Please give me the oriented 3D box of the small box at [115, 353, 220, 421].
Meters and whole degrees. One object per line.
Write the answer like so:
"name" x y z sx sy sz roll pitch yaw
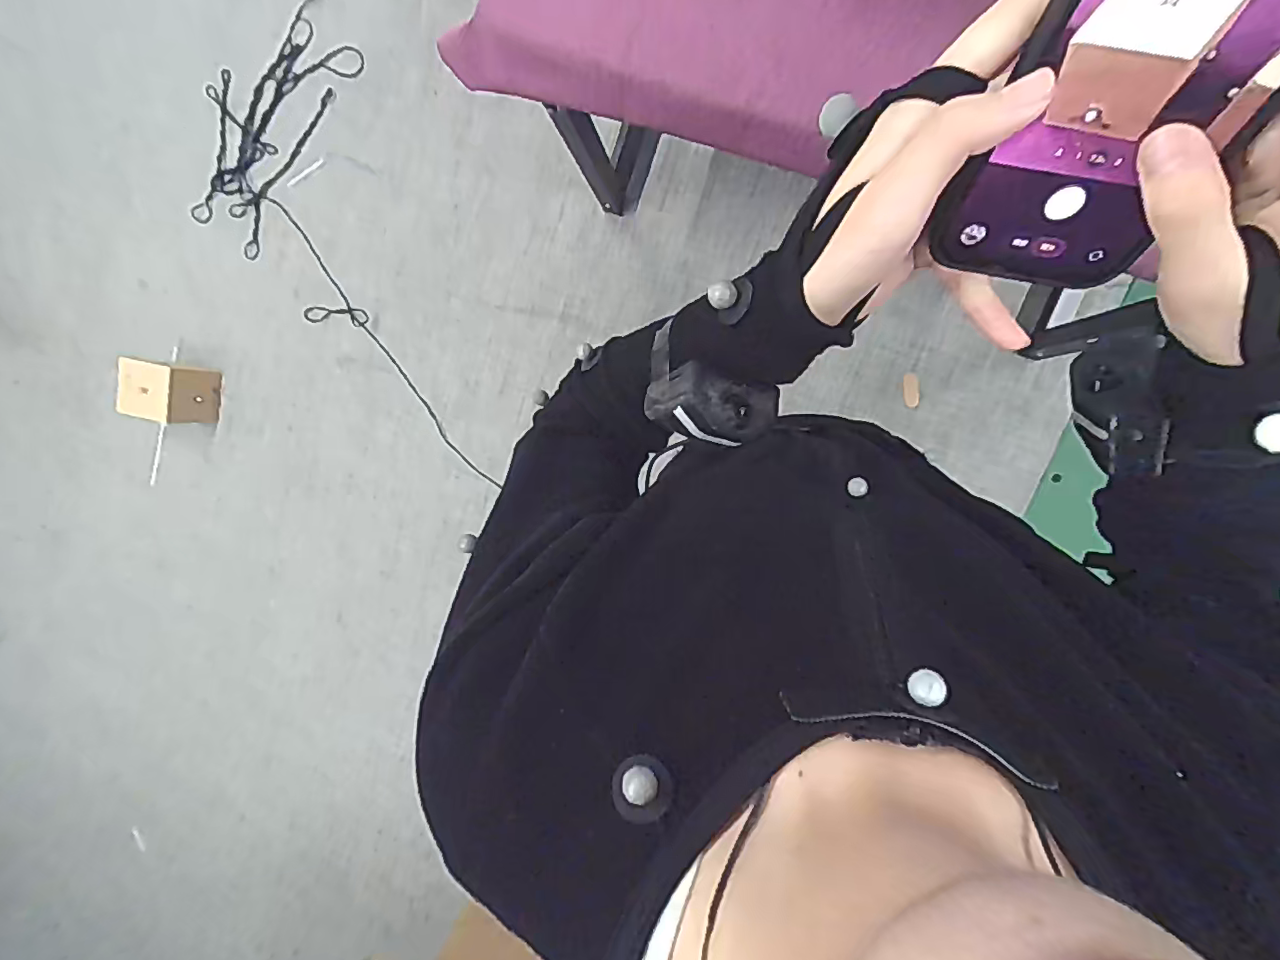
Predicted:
"small box" -1.426 -0.281 1.640 0.179 0.176 0.168 13 98 8

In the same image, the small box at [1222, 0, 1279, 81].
"small box" 0.749 -0.533 0.535 0.179 0.176 0.168 1 95 9

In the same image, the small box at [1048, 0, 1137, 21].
"small box" 0.514 -0.638 0.563 0.179 0.176 0.168 25 100 5
